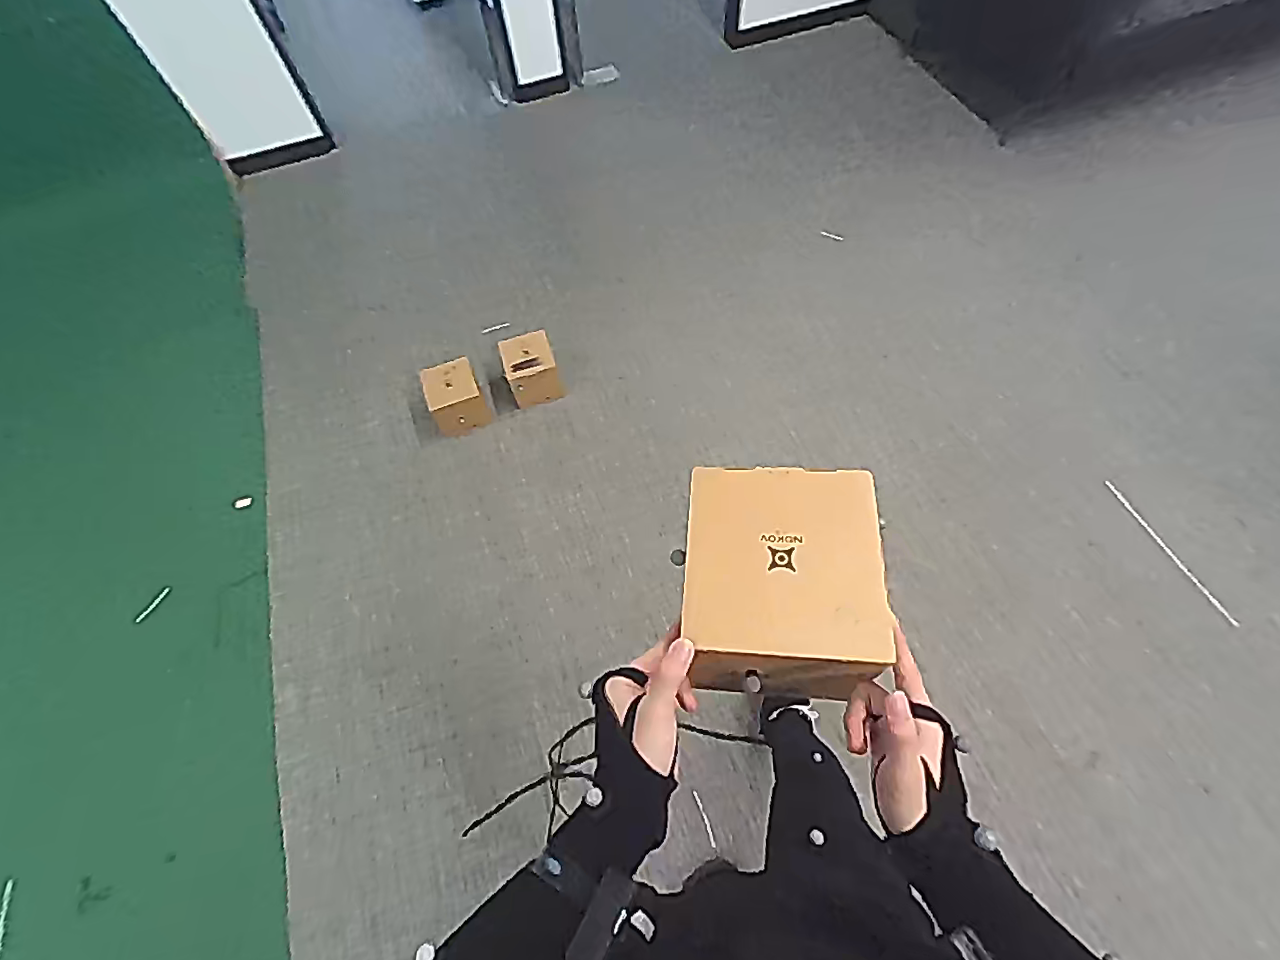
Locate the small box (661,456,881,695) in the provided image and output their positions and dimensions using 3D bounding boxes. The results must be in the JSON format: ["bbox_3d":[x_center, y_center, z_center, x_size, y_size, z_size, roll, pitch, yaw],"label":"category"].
[{"bbox_3d":[0.116,0.096,0.514,0.168,0.176,0.179,2,58,9],"label":"small box"}]

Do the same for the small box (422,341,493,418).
[{"bbox_3d":[-0.605,-0.328,1.810,0.168,0.176,0.179,-18,64,-7],"label":"small box"}]
